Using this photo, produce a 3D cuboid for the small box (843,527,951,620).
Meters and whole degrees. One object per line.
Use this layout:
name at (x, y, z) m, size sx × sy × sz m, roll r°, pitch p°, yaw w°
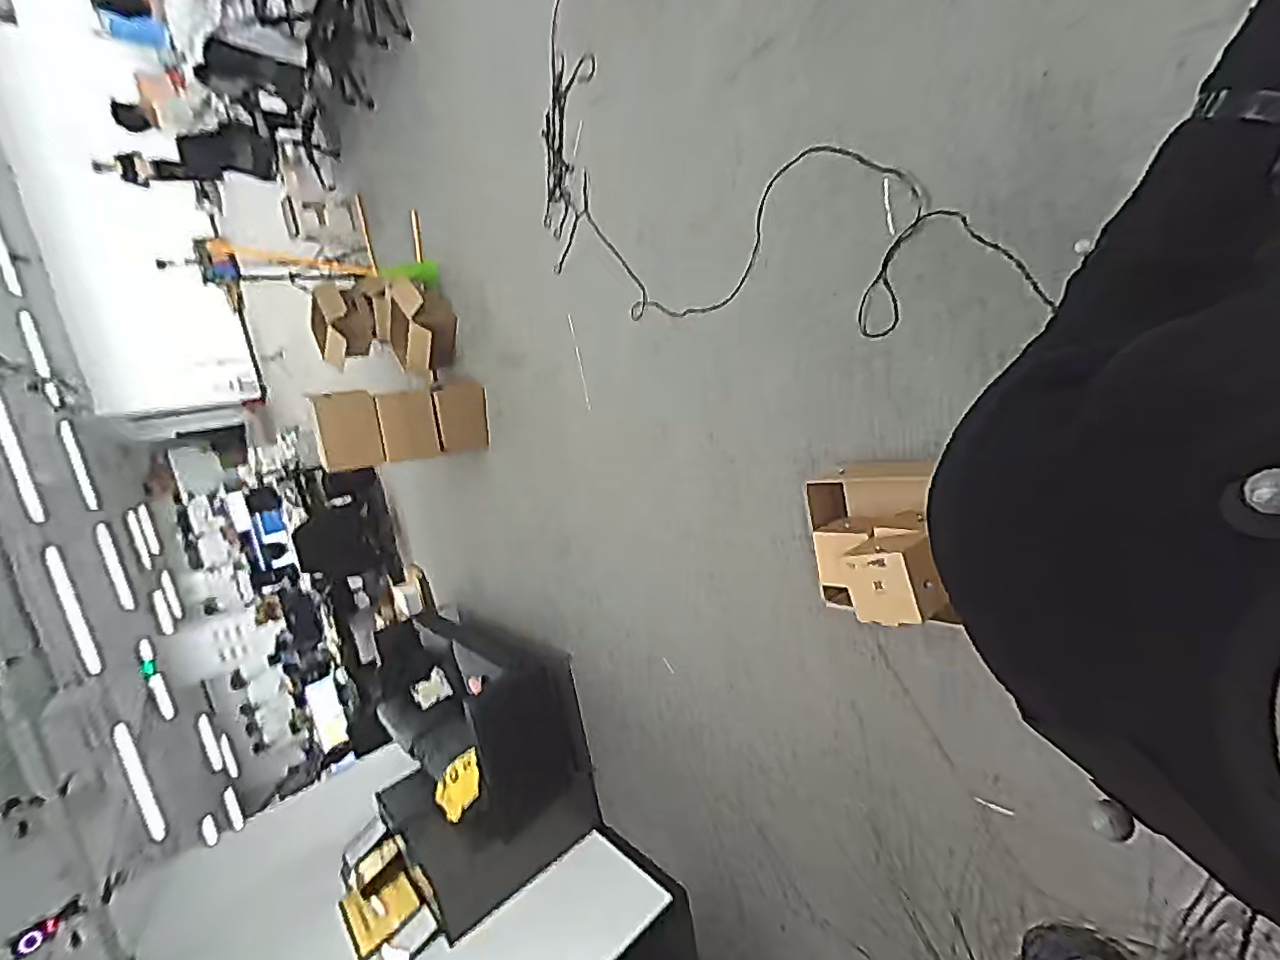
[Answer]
small box at (0.642, 0.230, 1.342) m, size 0.168 × 0.176 × 0.179 m, roll -16°, pitch 91°, yaw 51°
